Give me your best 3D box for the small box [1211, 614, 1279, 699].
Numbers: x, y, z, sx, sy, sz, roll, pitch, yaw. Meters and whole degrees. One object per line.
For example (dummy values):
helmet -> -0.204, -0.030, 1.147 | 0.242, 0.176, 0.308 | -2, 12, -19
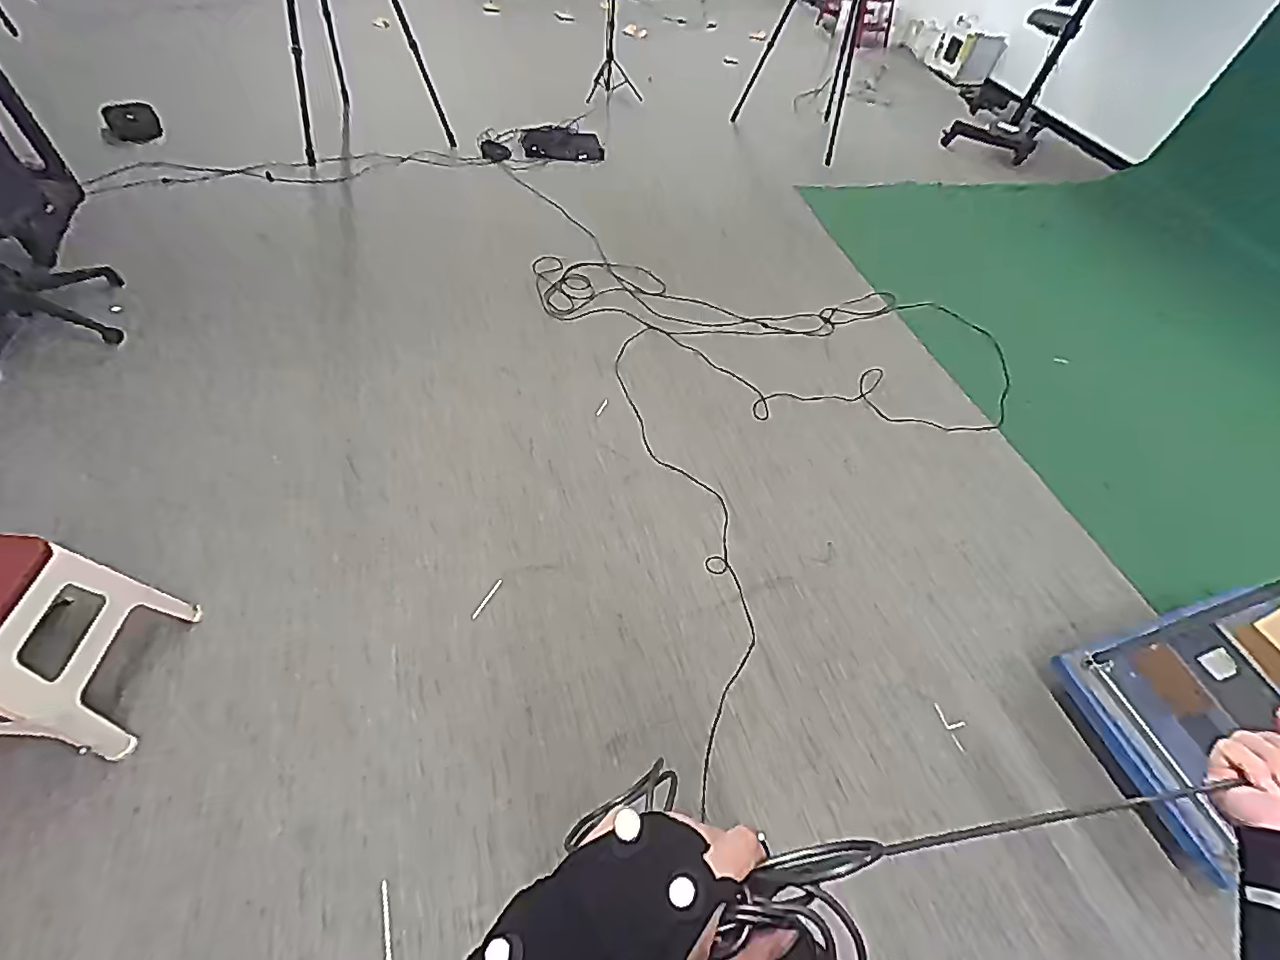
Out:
small box -> 1.792, 0.493, 1.522 | 0.179, 0.176, 0.168 | -14, 57, -17

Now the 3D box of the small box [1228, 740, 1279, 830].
small box -> 1.628, 0.736, 1.320 | 0.179, 0.176, 0.168 | -11, 56, -14
